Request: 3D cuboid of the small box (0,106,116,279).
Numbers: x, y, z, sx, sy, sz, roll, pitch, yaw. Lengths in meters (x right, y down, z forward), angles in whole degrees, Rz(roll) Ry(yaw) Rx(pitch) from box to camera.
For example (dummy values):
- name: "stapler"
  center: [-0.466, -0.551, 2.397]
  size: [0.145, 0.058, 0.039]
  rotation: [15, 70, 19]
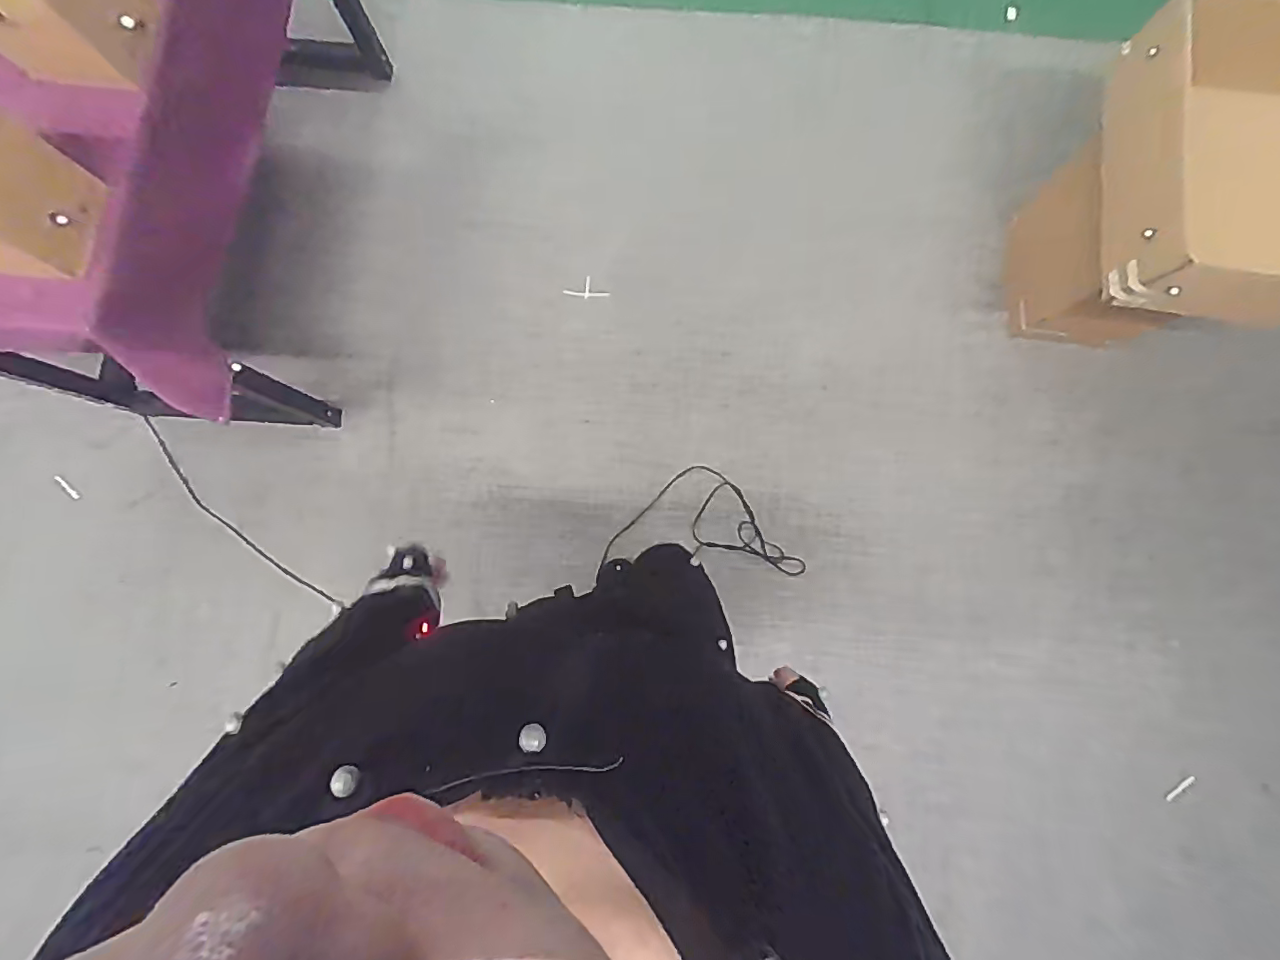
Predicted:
- name: "small box"
  center: [-0.937, -0.411, 0.782]
  size: [0.179, 0.176, 0.168]
  rotation: [5, 82, 0]

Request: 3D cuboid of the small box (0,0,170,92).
- name: "small box"
  center: [-0.888, -0.737, 0.826]
  size: [0.179, 0.176, 0.168]
  rotation: [6, 83, 1]
